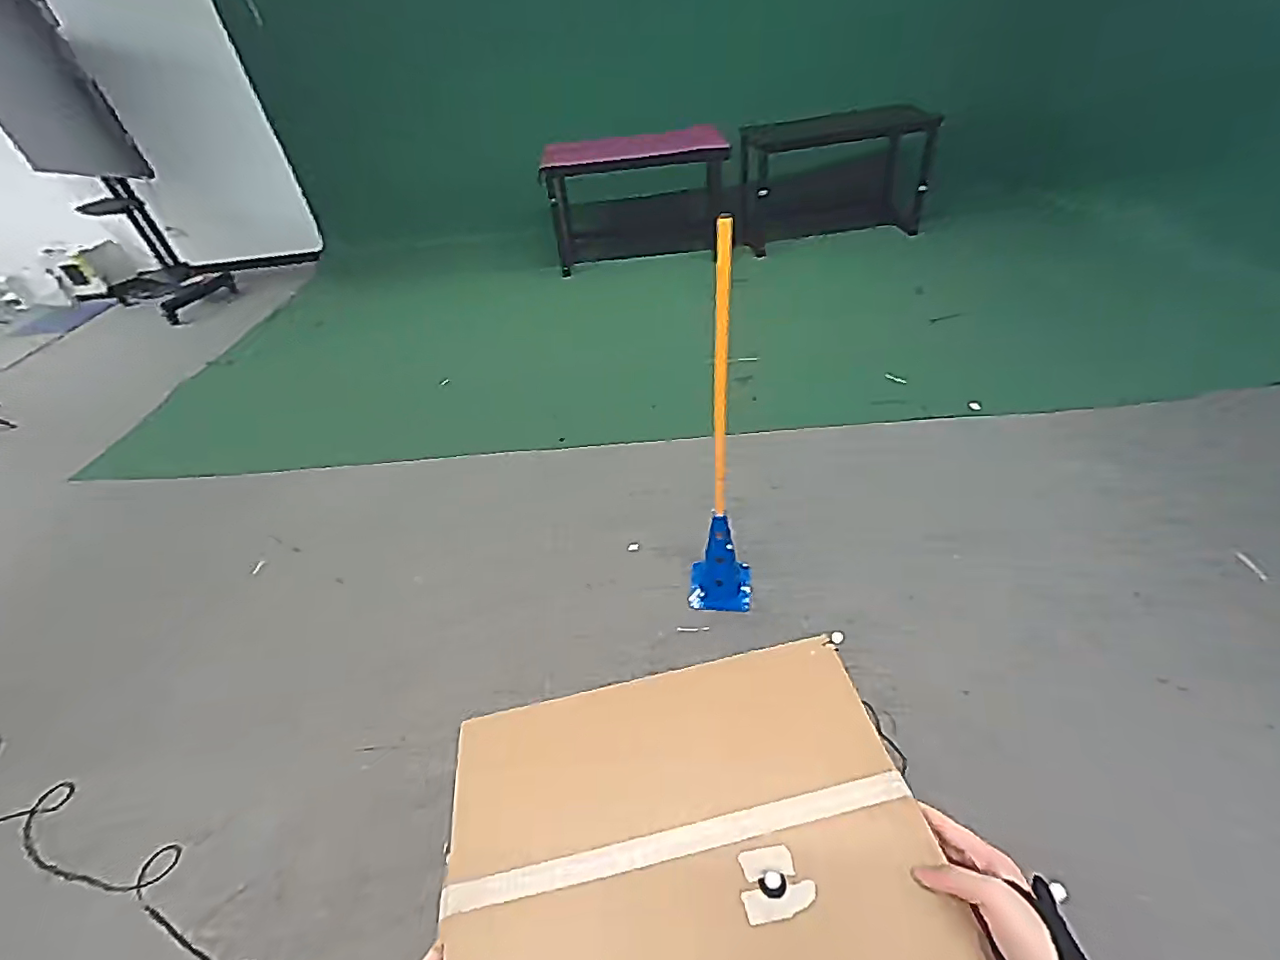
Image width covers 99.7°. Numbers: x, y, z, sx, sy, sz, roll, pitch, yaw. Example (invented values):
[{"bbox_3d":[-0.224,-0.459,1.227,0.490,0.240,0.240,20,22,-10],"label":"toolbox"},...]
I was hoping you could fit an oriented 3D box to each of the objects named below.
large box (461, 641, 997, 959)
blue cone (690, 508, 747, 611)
[{"bbox_3d":[0.060,0.426,0.566,0.408,0.320,0.320,-12,41,-3],"label":"large box"},{"bbox_3d":[0.254,0.244,1.751,0.193,0.380,0.192,2,41,11],"label":"blue cone"}]
